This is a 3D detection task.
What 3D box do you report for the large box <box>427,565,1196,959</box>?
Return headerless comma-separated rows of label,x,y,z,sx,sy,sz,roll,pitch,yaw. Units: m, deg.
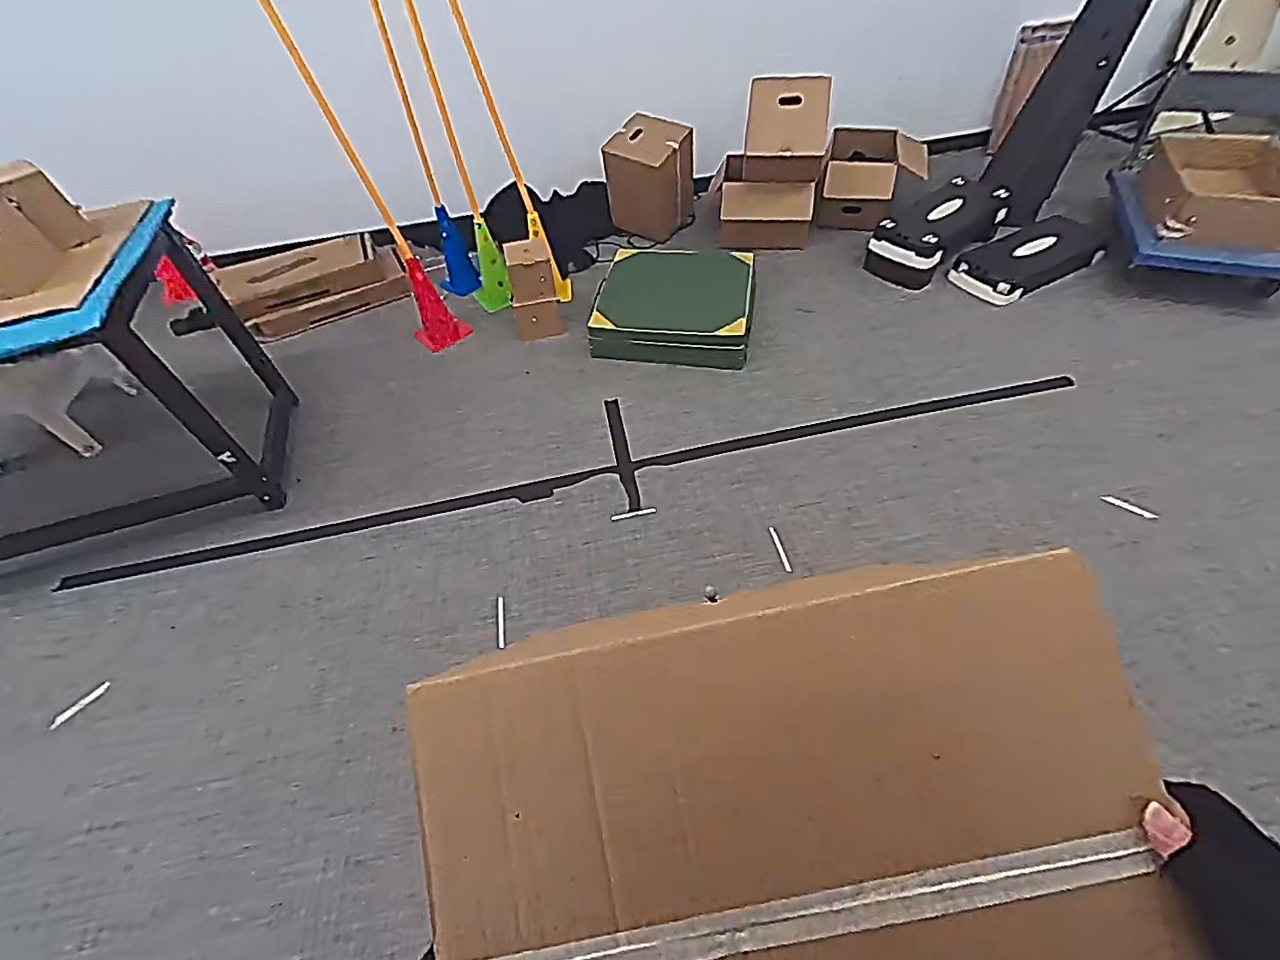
large box,0.102,0.267,0.450,0.408,0.320,0.320,-13,79,1
